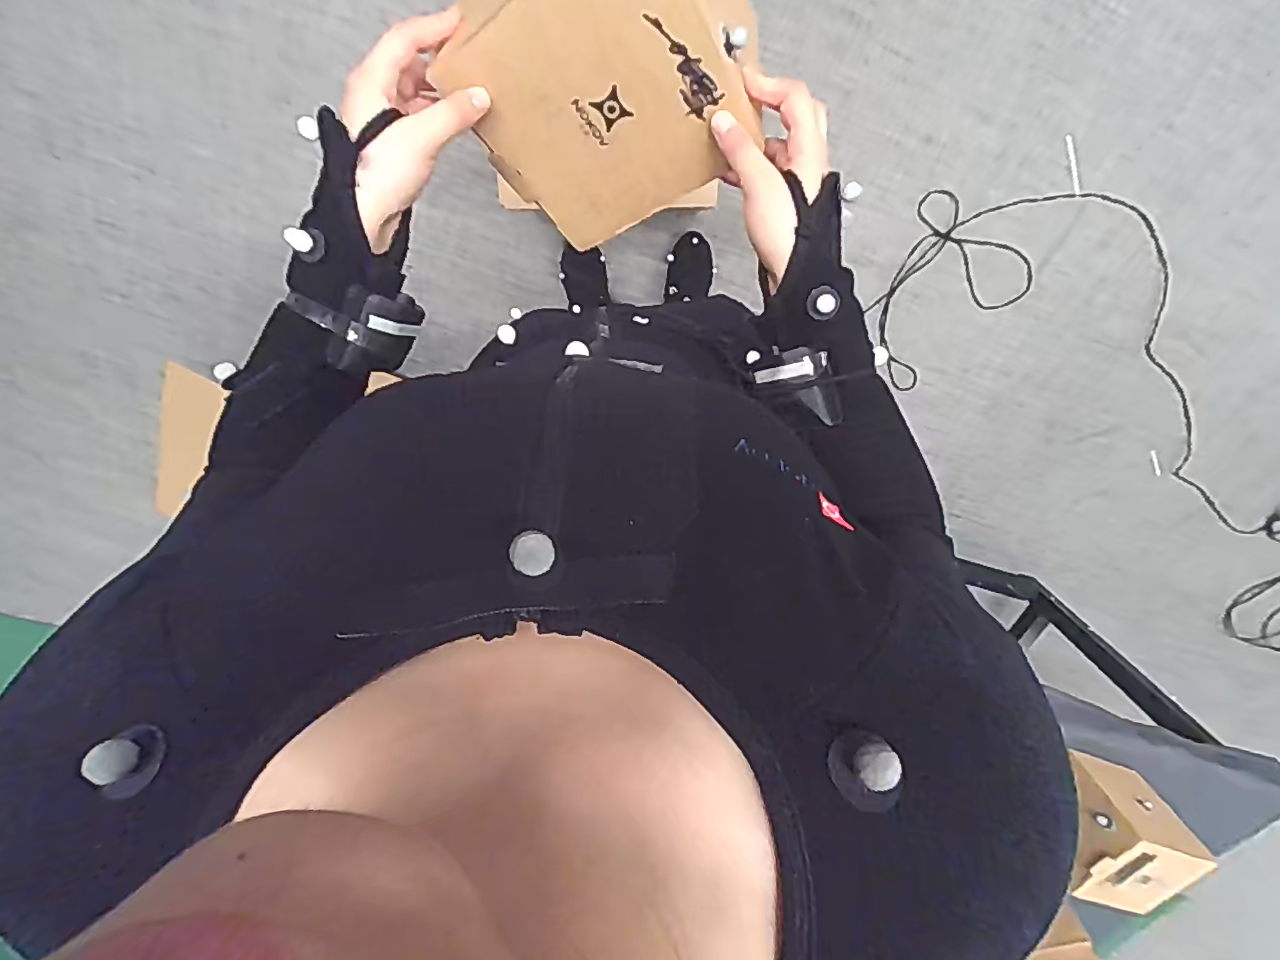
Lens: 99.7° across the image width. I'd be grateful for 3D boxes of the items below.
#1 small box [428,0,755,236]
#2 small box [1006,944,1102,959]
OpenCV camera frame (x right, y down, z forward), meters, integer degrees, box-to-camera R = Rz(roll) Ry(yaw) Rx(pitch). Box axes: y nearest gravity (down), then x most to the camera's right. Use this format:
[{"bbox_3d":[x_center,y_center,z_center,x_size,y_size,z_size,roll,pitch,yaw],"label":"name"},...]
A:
[{"bbox_3d":[-0.022,-0.336,0.412,0.179,0.176,0.168,-14,147,31],"label":"small box"},{"bbox_3d":[0.751,0.955,0.944,0.179,0.176,0.168,-10,116,3],"label":"small box"}]
